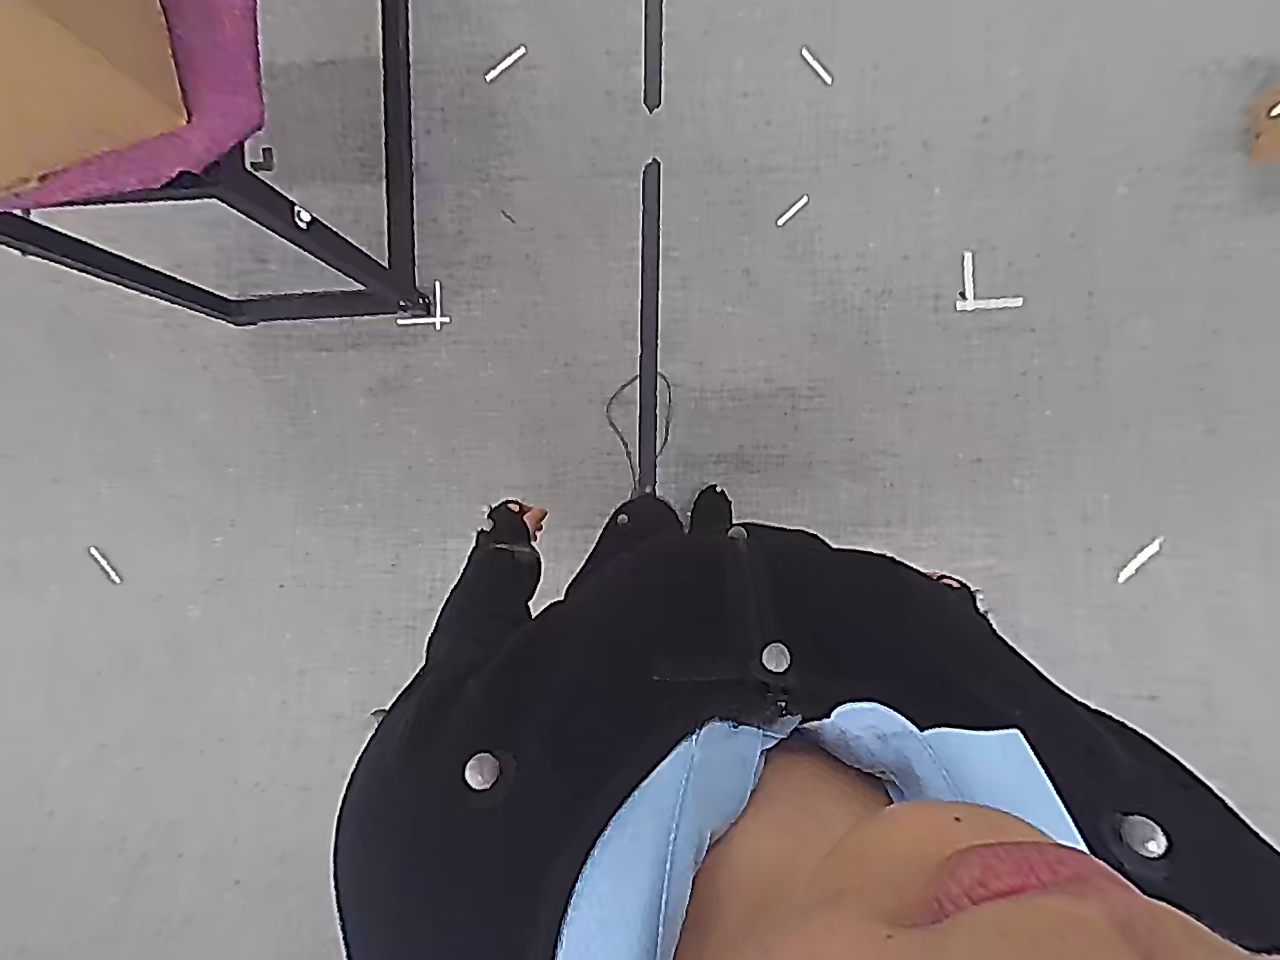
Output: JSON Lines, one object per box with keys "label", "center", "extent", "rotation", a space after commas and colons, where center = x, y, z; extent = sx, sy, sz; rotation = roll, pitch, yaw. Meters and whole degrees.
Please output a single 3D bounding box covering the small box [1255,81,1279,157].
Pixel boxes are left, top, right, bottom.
{"label": "small box", "center": [1.668, -0.915, 1.316], "extent": [0.179, 0.176, 0.168], "rotation": [-2, 91, 3]}
